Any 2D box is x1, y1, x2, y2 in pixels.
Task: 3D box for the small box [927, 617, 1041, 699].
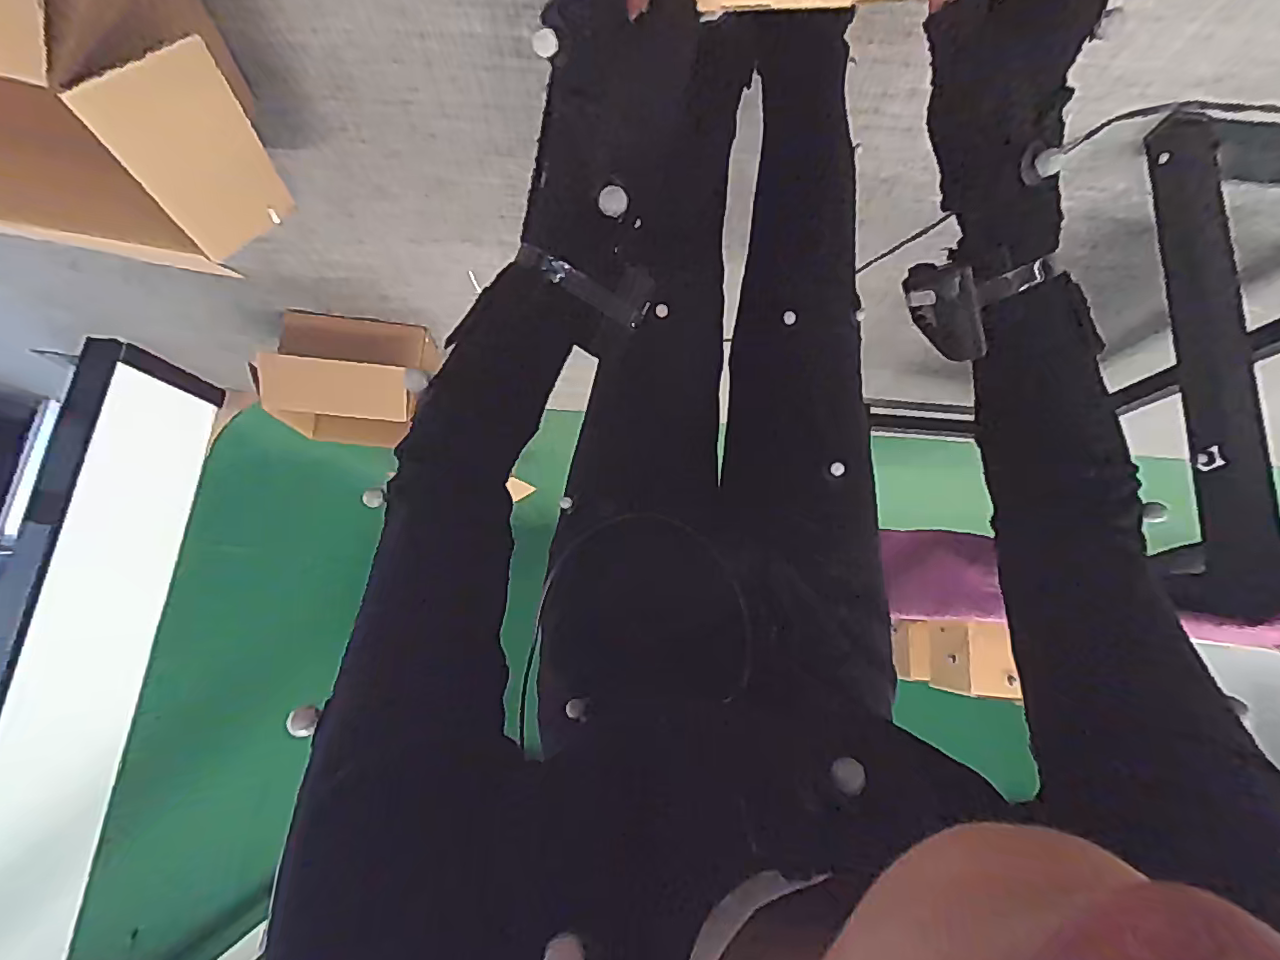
[{"bbox_3d":[0.822,0.424,1.310,0.179,0.176,0.168,7,166,-3],"label":"small box"}]
